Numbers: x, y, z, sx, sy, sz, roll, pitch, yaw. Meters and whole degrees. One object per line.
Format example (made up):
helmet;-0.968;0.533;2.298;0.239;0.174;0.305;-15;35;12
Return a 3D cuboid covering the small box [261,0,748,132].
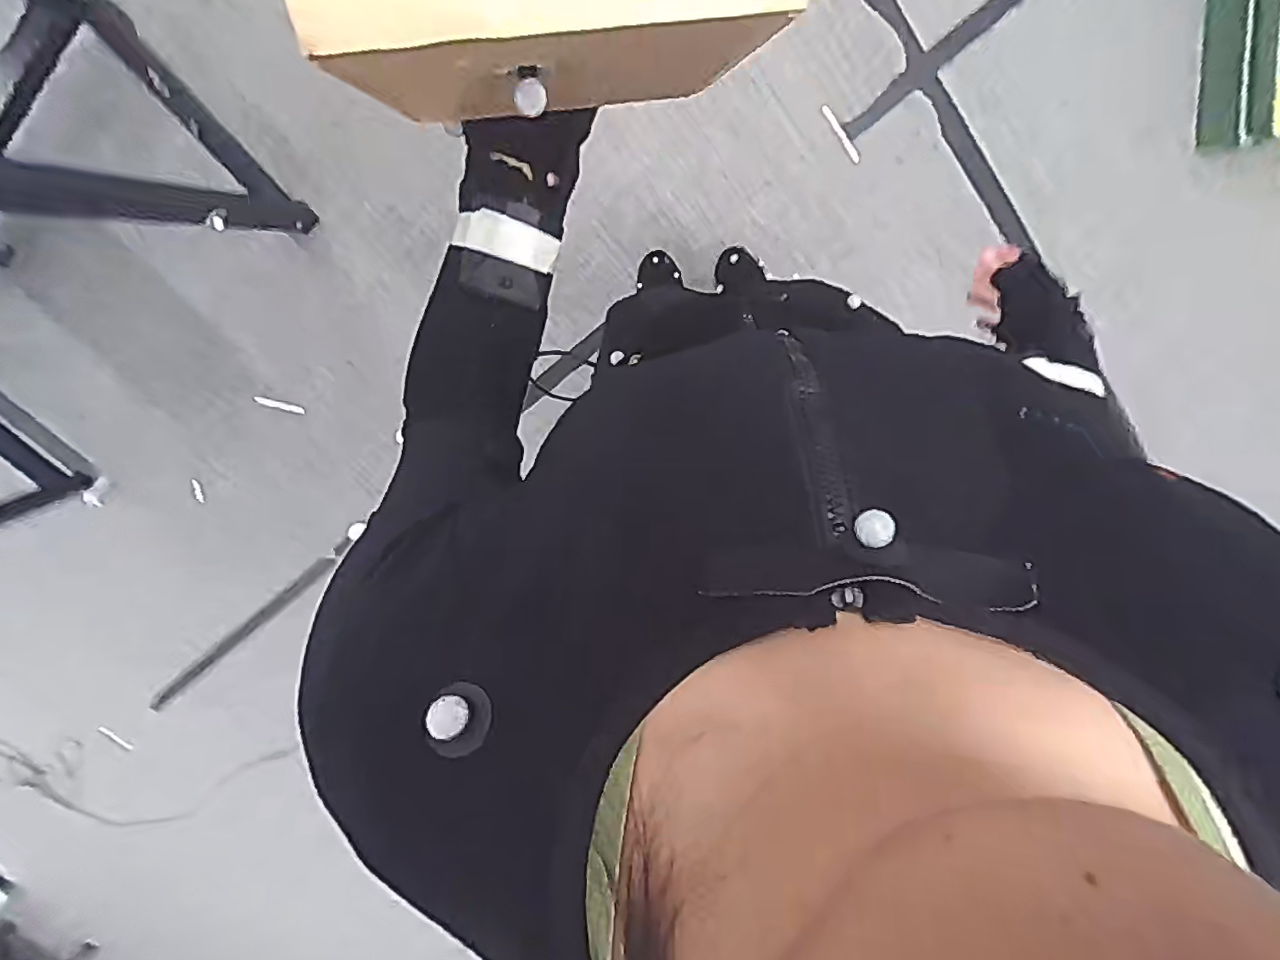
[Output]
small box;-0.056;-0.259;0.220;0.179;0.176;0.168;-12;117;-2
